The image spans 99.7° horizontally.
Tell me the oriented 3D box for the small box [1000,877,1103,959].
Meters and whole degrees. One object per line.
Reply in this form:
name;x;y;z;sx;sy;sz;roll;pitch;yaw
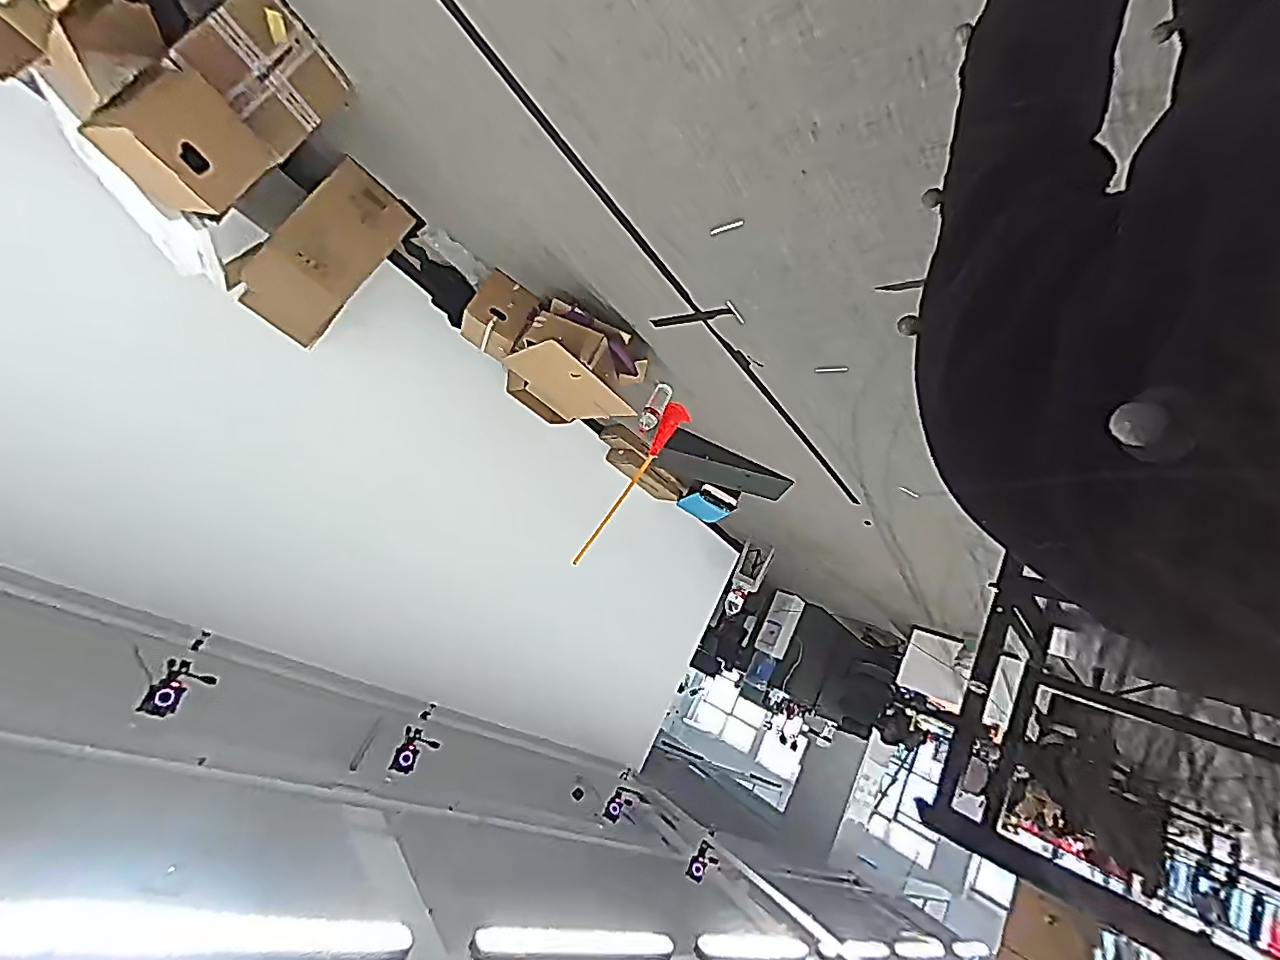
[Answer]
small box;1.041;1.139;1.362;0.168;0.176;0.179;9;157;49

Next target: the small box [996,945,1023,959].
small box;0.968;1.280;1.323;0.168;0.176;0.179;11;158;48

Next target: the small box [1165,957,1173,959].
small box;1.215;1.168;1.152;0.179;0.176;0.168;36;164;-37
